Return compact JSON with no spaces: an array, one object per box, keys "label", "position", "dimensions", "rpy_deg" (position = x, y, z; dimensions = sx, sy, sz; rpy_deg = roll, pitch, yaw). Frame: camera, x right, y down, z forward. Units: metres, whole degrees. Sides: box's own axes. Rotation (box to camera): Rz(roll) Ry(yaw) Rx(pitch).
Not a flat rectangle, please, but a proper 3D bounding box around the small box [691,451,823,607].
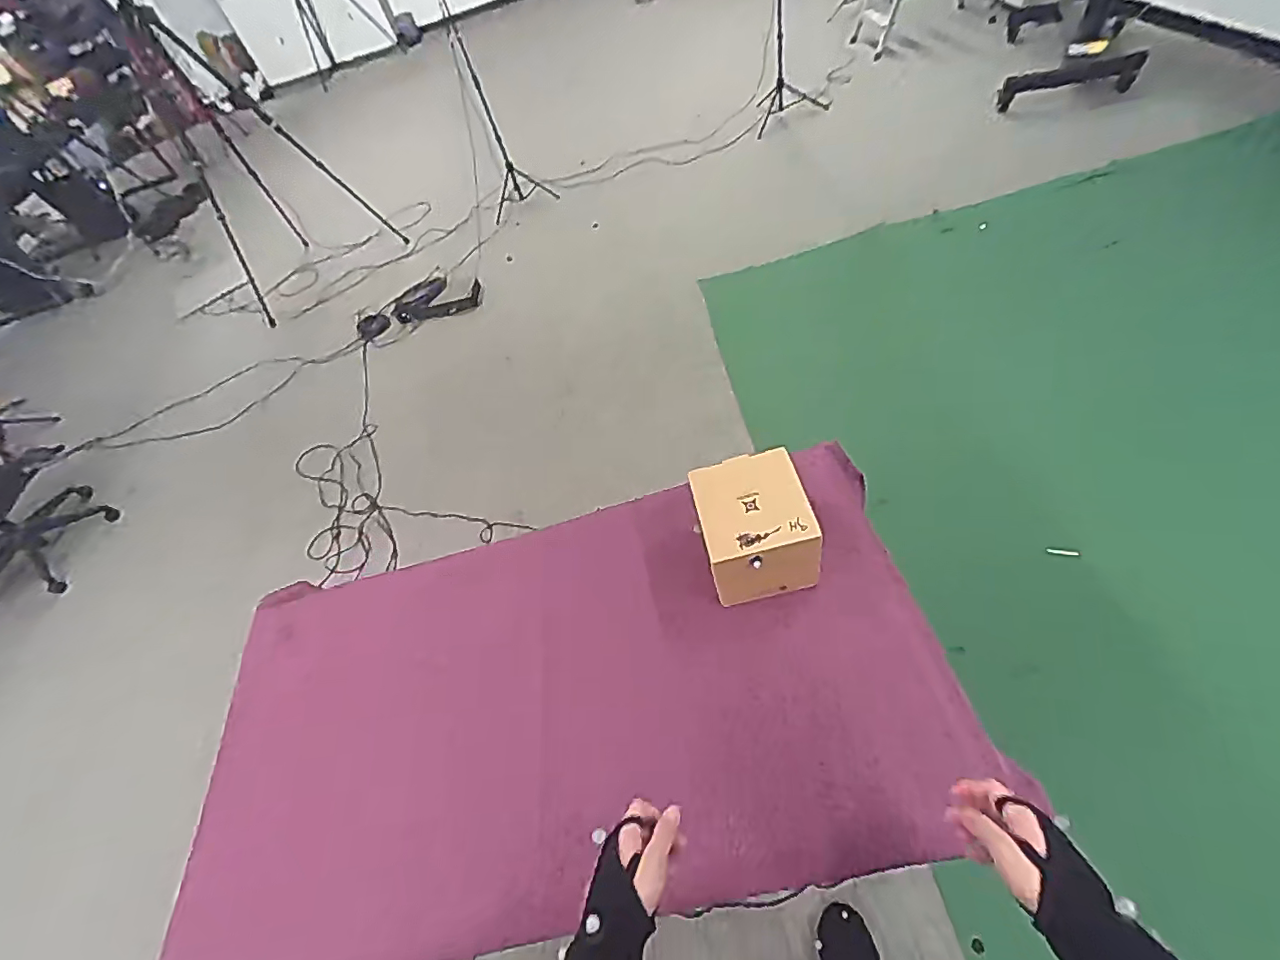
[{"label":"small box","position":[0.189,0.084,0.890],"dimensions":[0.168,0.176,0.179],"rpy_deg":[-15,52,6]}]
